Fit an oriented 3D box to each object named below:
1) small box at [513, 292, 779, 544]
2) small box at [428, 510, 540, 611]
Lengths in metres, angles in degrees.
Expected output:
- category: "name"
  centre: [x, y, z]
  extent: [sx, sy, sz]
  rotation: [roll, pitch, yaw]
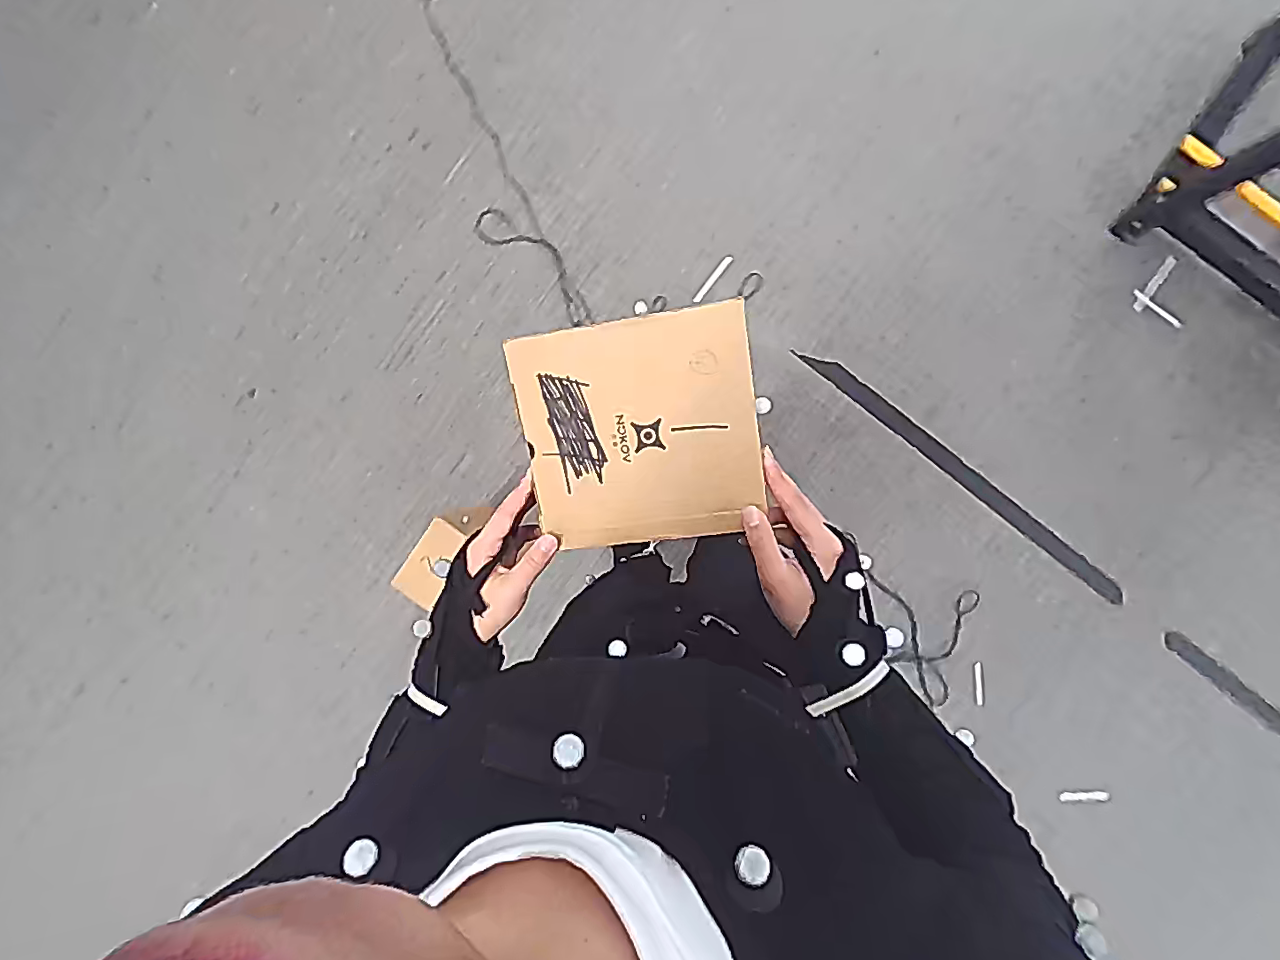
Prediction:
- category: "small box"
  centre: [0.016, -0.056, 0.461]
  extent: [0.179, 0.176, 0.168]
  rotation: [-7, 103, 9]
- category: "small box"
  centre: [-0.361, 0.181, 1.285]
  extent: [0.179, 0.176, 0.168]
  rotation: [30, 92, -1]
